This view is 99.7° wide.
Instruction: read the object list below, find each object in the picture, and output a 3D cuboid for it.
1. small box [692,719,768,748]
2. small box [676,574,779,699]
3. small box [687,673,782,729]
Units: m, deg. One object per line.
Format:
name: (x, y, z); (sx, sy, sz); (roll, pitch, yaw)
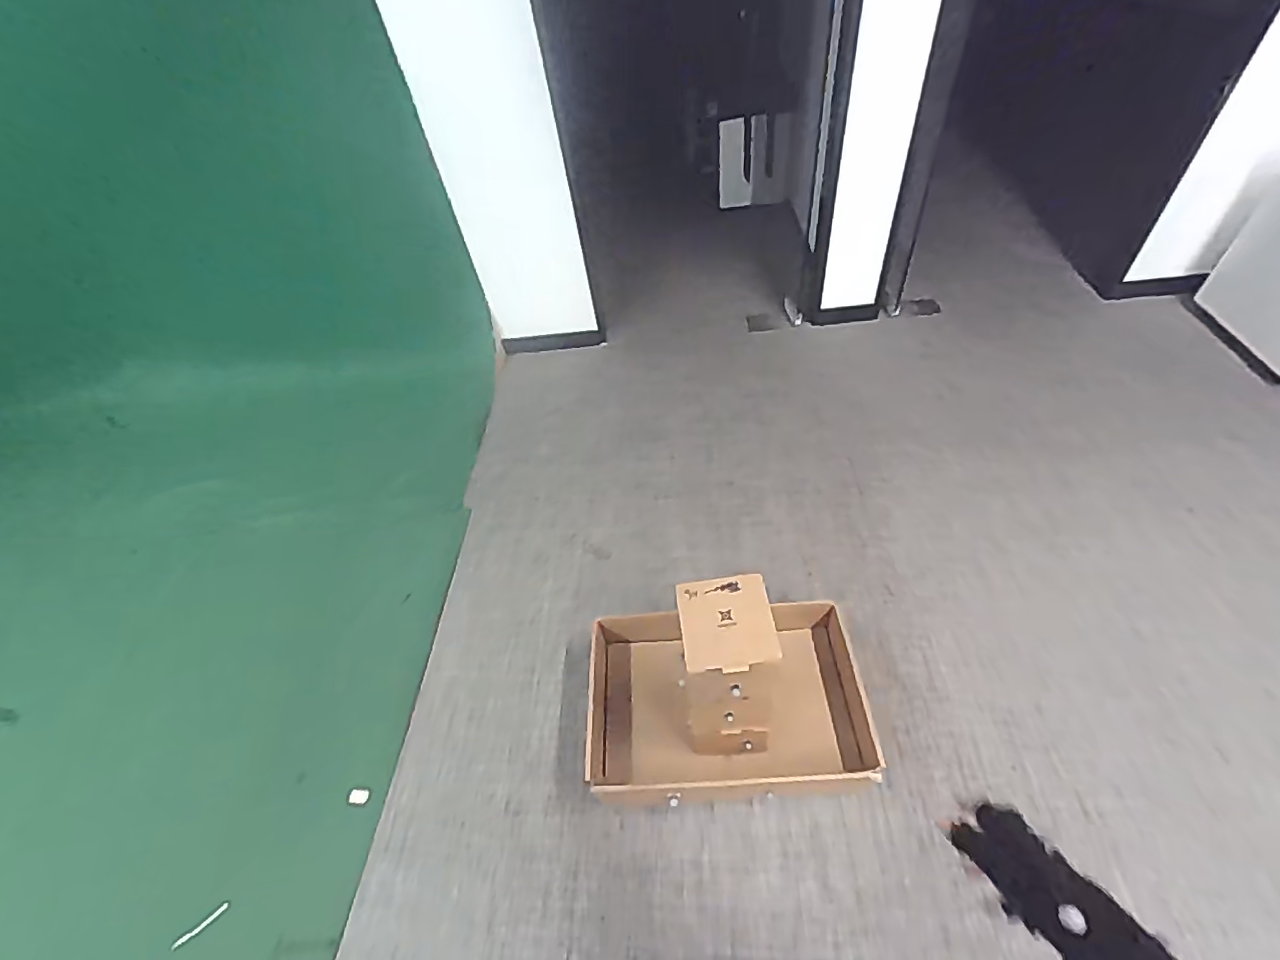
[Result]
small box: (0.206, 0.519, 1.271); (0.168, 0.176, 0.179); (-4, 47, 5)
small box: (0.163, 0.304, 1.029); (0.168, 0.176, 0.179); (-8, 49, 3)
small box: (0.188, 0.413, 1.148); (0.179, 0.176, 0.168); (-7, 49, 1)
